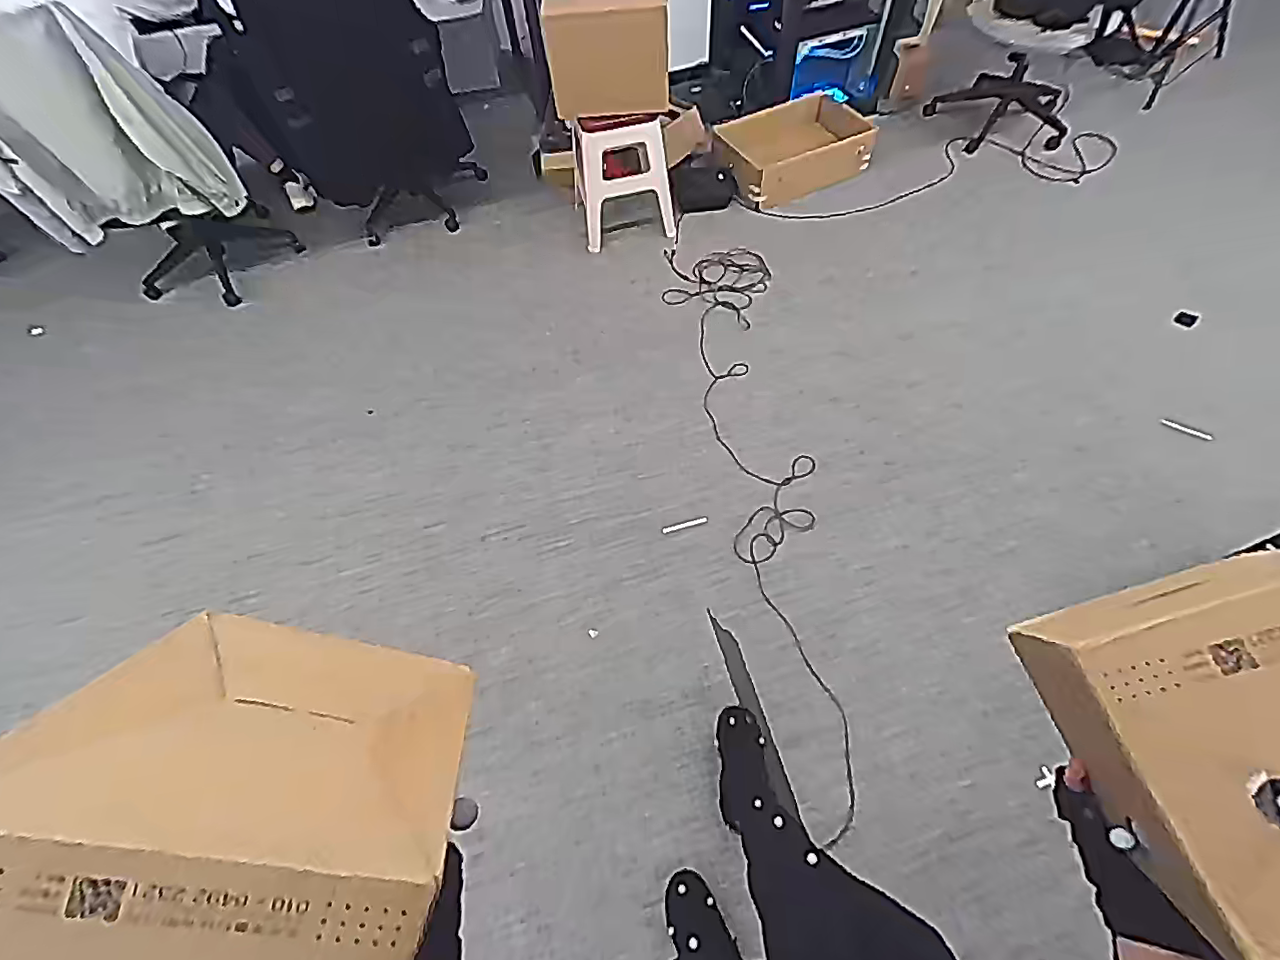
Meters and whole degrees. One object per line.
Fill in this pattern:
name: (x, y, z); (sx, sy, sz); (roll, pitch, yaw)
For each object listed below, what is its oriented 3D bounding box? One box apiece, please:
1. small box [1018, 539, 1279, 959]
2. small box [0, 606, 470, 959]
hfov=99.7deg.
small box: (0.357, 0.133, 0.309); (0.168, 0.179, 0.176); (-24, 71, 18)
small box: (-0.192, 0.177, 0.259); (0.168, 0.179, 0.176); (18, 91, -13)
